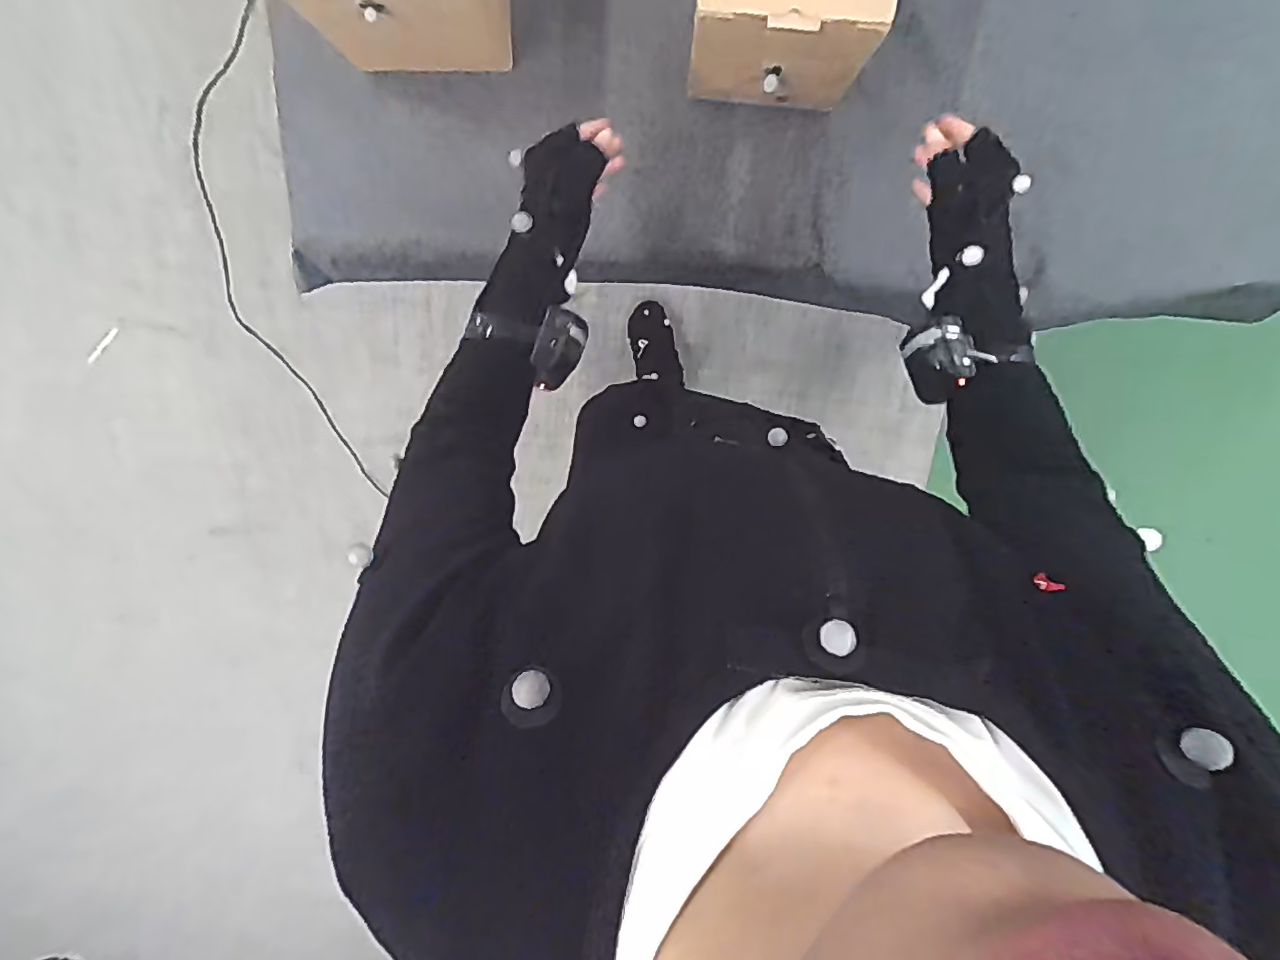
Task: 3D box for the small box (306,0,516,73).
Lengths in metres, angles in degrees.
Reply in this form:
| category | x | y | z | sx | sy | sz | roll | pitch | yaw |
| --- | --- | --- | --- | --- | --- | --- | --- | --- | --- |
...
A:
| category | x | y | z | sx | sy | sz | roll | pitch | yaw |
| --- | --- | --- | --- | --- | --- | --- | --- | --- | --- |
| small box | -0.228 | -0.524 | 0.519 | 0.179 | 0.176 | 0.168 | 1 | 104 | 1 |

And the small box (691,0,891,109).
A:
| category | x | y | z | sx | sy | sz | roll | pitch | yaw |
| --- | --- | --- | --- | --- | --- | --- | --- | --- | --- |
| small box | 0.140 | -0.486 | 0.515 | 0.168 | 0.176 | 0.179 | 6 | 105 | 1 |
